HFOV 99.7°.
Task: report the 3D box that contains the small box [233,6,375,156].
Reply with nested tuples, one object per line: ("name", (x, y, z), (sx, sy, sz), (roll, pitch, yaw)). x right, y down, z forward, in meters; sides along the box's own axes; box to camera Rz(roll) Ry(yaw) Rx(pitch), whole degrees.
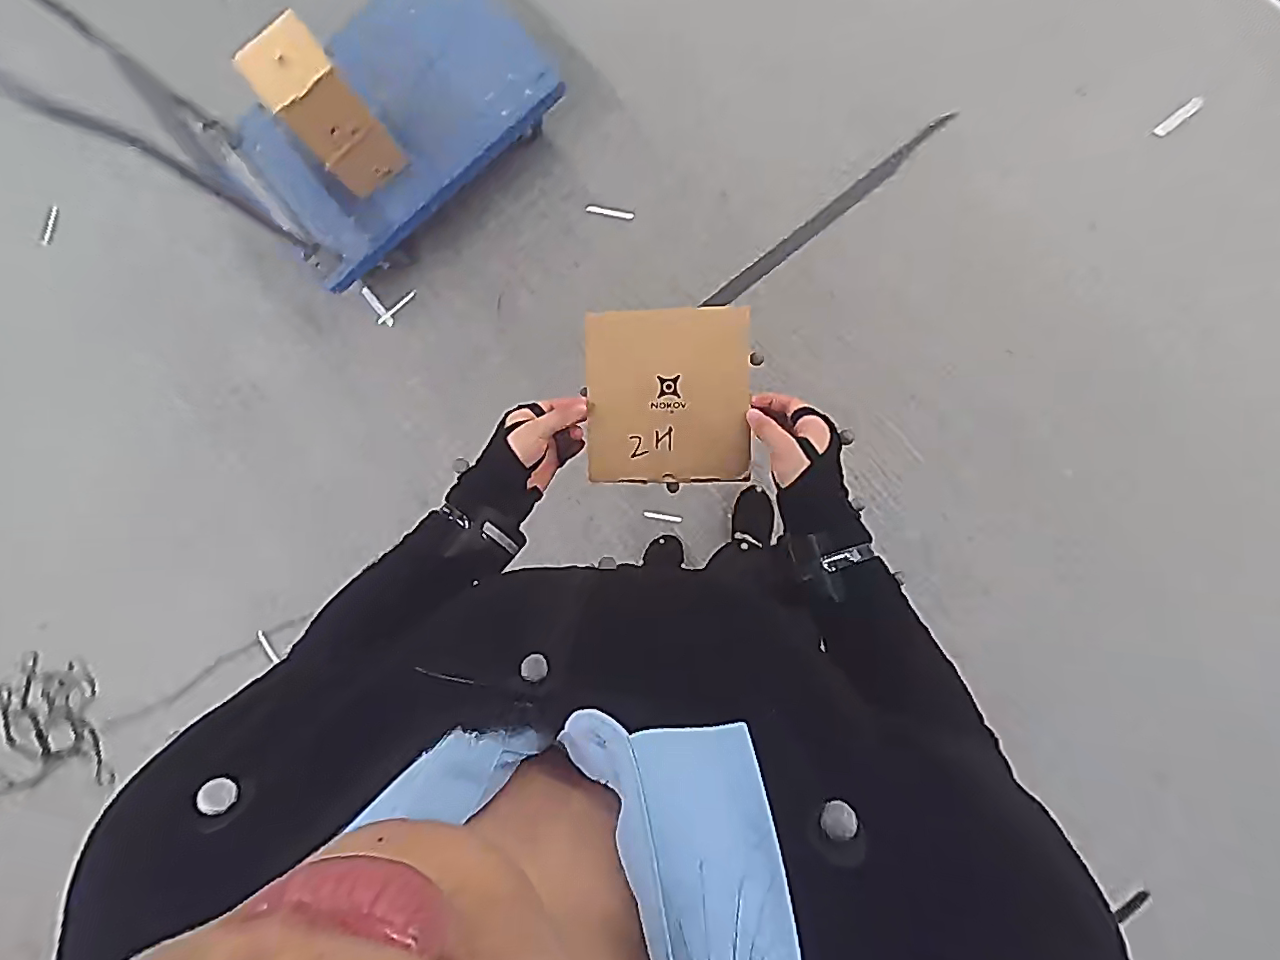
("small box", (-0.745, -0.885, 1.218), (0.168, 0.176, 0.179), (-38, 85, 1))

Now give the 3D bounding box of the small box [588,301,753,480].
("small box", (0.036, -0.089, 0.615), (0.168, 0.176, 0.179), (-1, 91, 6))
